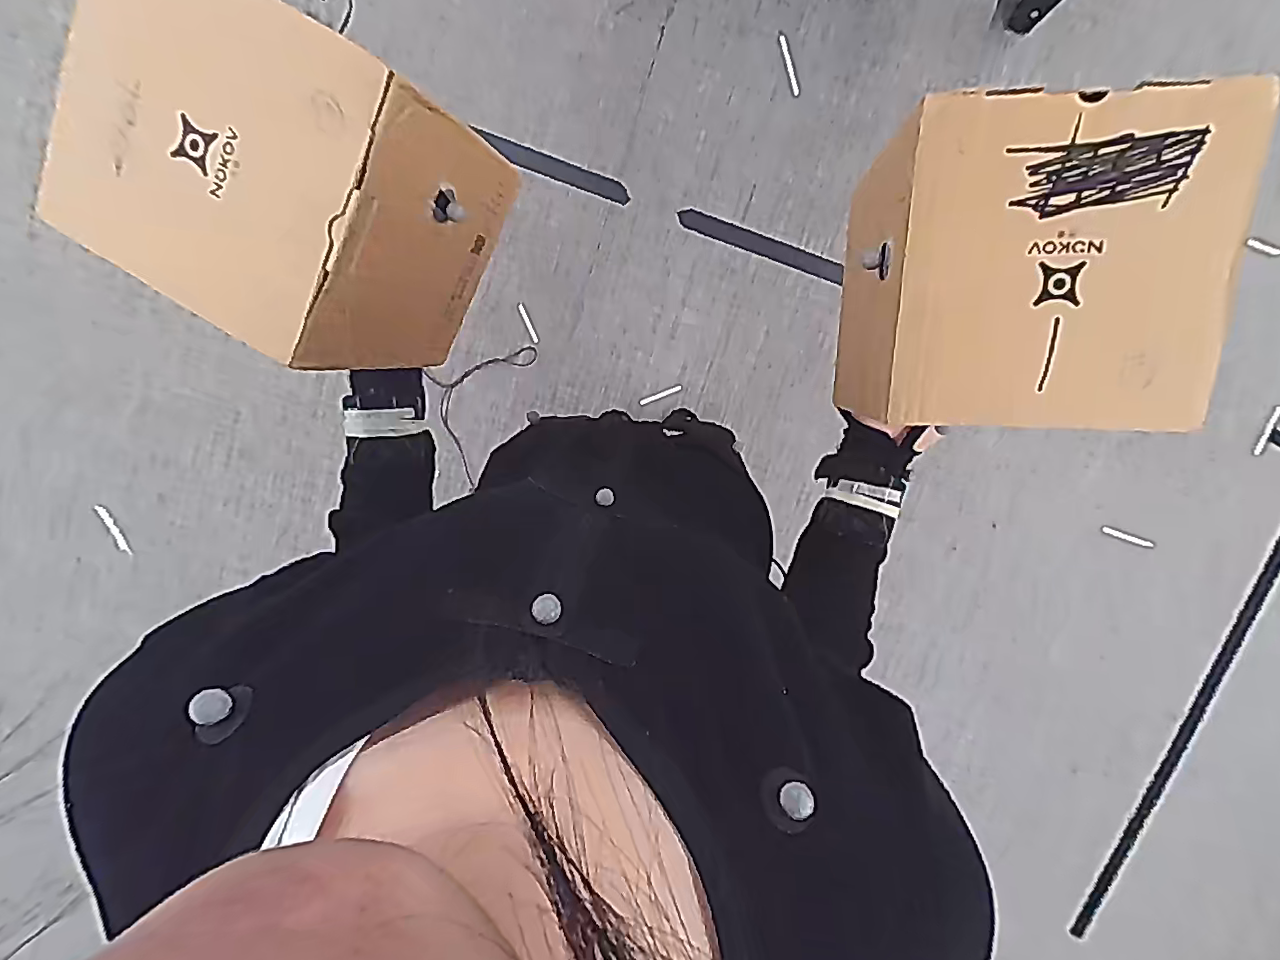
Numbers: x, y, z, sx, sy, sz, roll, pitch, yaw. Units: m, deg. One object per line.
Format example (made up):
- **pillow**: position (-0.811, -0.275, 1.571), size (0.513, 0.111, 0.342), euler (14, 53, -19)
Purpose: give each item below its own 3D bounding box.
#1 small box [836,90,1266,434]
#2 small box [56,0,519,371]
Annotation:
- **small box**: position (0.242, -0.130, 0.375), size (0.168, 0.176, 0.179), euler (3, 102, 8)
- **small box**: position (-0.209, -0.189, 0.364), size (0.179, 0.176, 0.168), euler (31, 104, 2)
